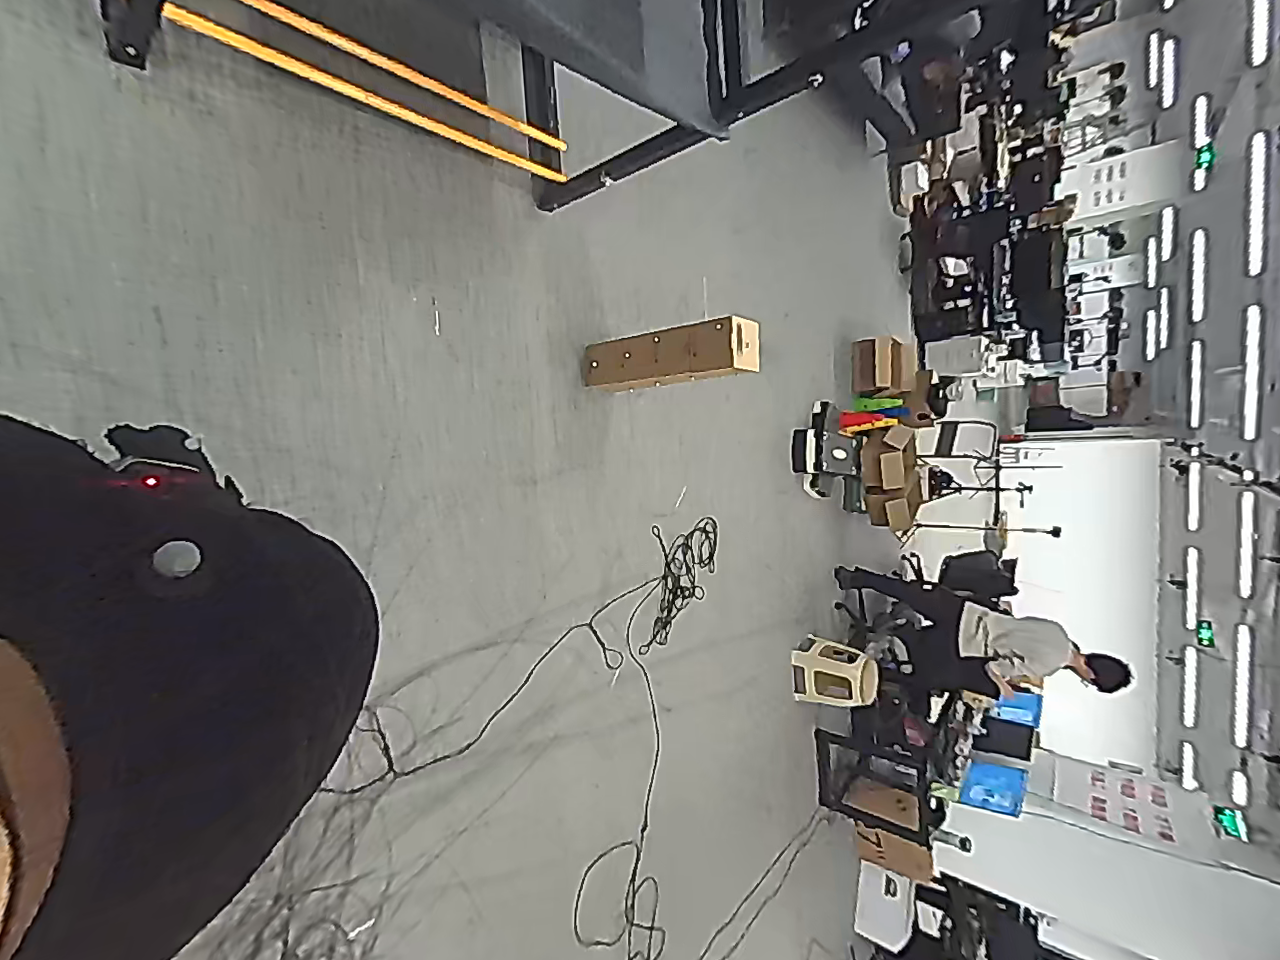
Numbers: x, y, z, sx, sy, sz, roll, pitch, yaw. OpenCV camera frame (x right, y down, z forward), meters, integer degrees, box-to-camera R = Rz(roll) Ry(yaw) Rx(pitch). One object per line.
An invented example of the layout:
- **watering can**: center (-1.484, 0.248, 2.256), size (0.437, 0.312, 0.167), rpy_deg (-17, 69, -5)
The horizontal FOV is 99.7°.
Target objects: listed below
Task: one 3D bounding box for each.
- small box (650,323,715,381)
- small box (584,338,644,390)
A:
- **small box**: center (0.149, -0.451, 1.930), size (0.179, 0.176, 0.168), rpy_deg (-4, 94, -51)
- **small box**: center (-0.102, -0.452, 2.138), size (0.179, 0.176, 0.168), rpy_deg (-1, 91, -50)
